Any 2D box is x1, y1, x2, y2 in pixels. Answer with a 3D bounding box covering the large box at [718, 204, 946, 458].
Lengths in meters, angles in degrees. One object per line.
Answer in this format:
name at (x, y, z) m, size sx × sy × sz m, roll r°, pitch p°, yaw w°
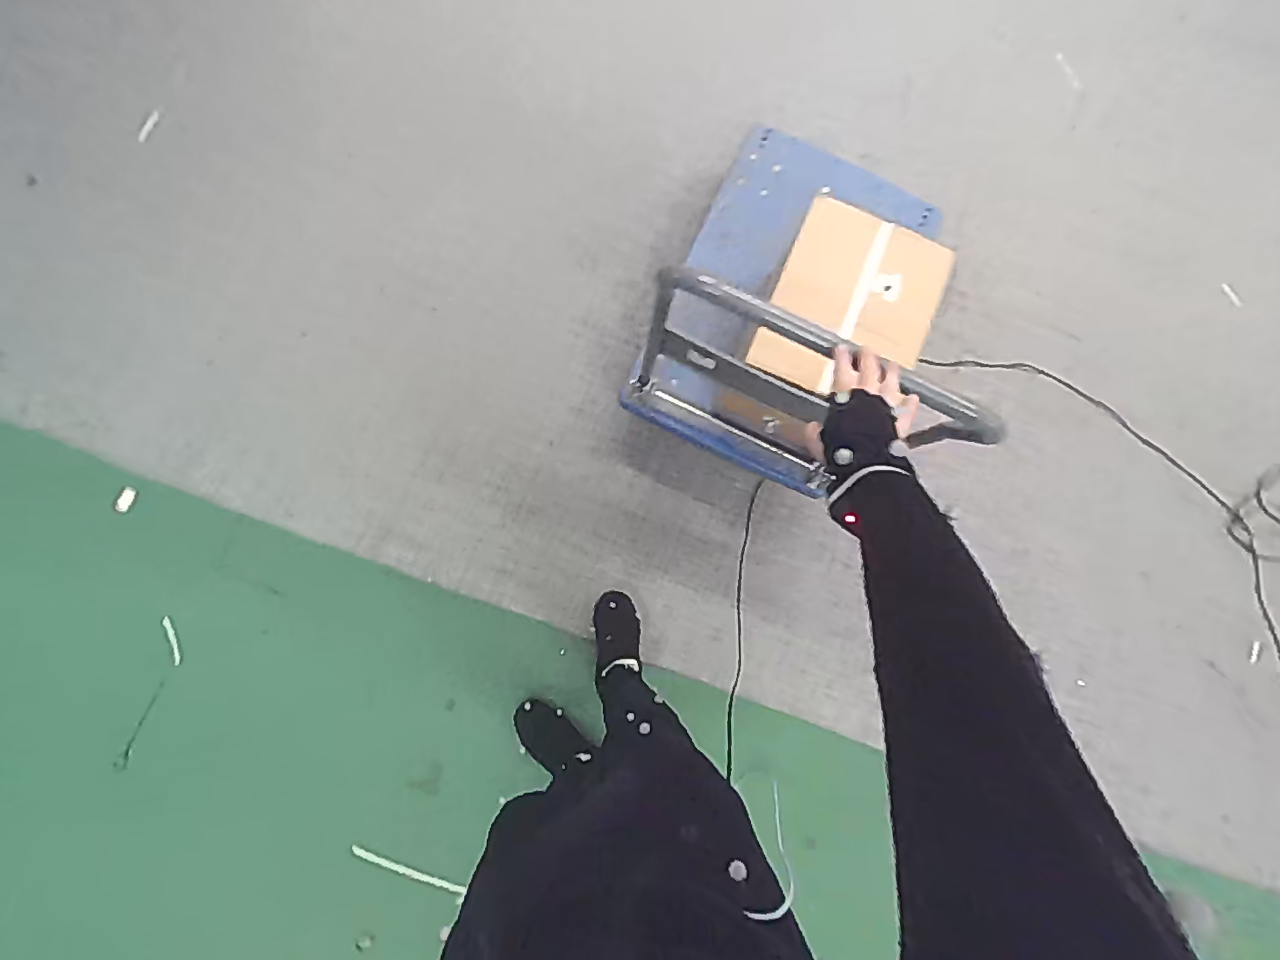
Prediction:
large box at (0.410, -0.310, 1.229) m, size 0.320 × 0.320 × 0.408 m, roll 24°, pitch 80°, yaw -1°
